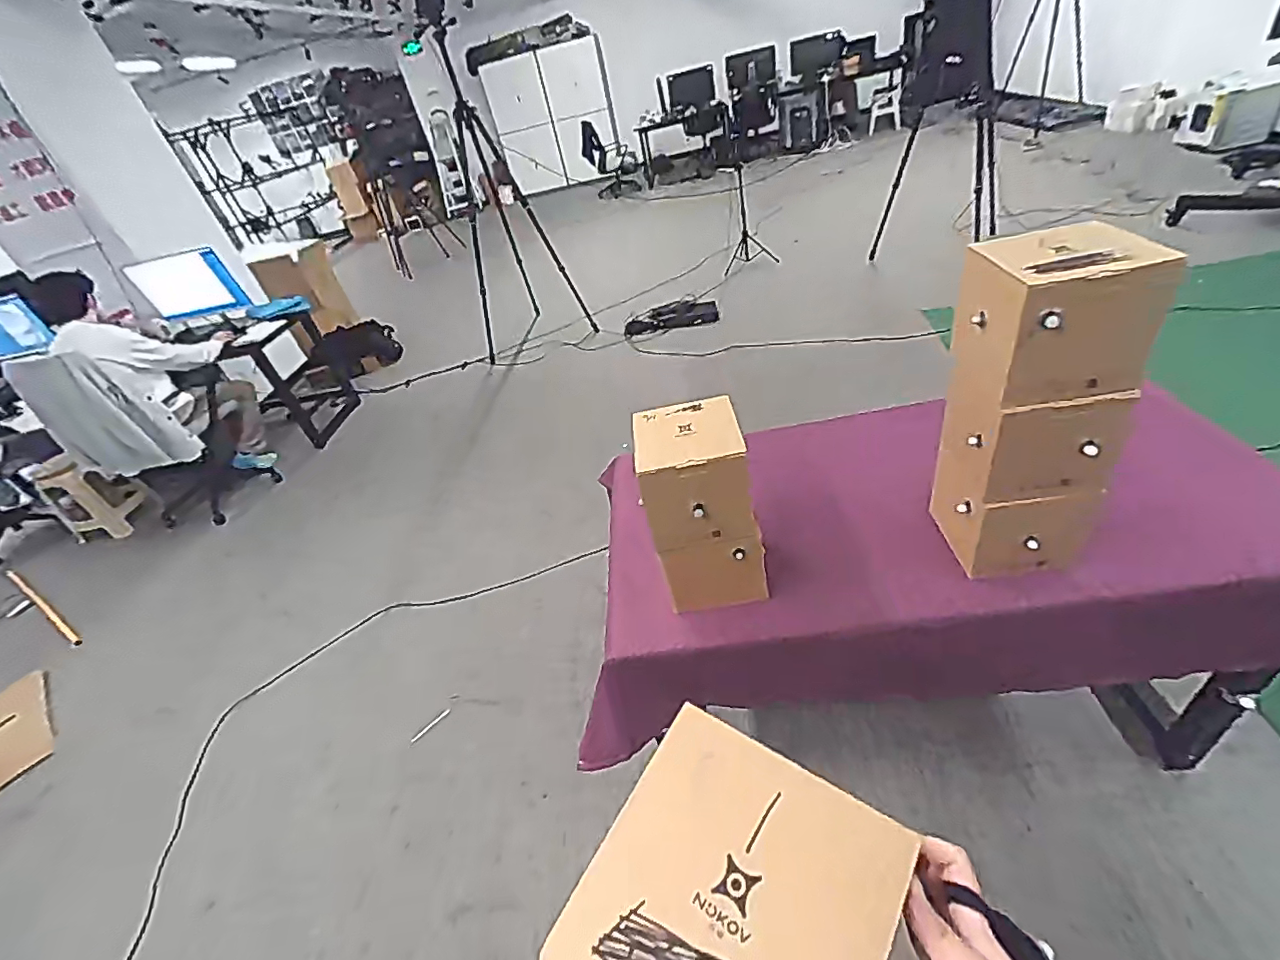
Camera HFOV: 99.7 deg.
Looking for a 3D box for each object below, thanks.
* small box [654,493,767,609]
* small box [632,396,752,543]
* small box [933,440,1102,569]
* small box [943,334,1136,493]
[{"bbox_3d":[0.126,0.117,0.989,0.179,0.176,0.168,-11,37,6],"label":"small box"},{"bbox_3d":[0.085,-0.011,0.894,0.168,0.176,0.179,-10,37,6],"label":"small box"},{"bbox_3d":[0.615,0.035,0.909,0.168,0.176,0.179,-9,37,9],"label":"small box"},{"bbox_3d":[0.579,-0.093,0.814,0.168,0.176,0.179,-8,37,11],"label":"small box"}]
